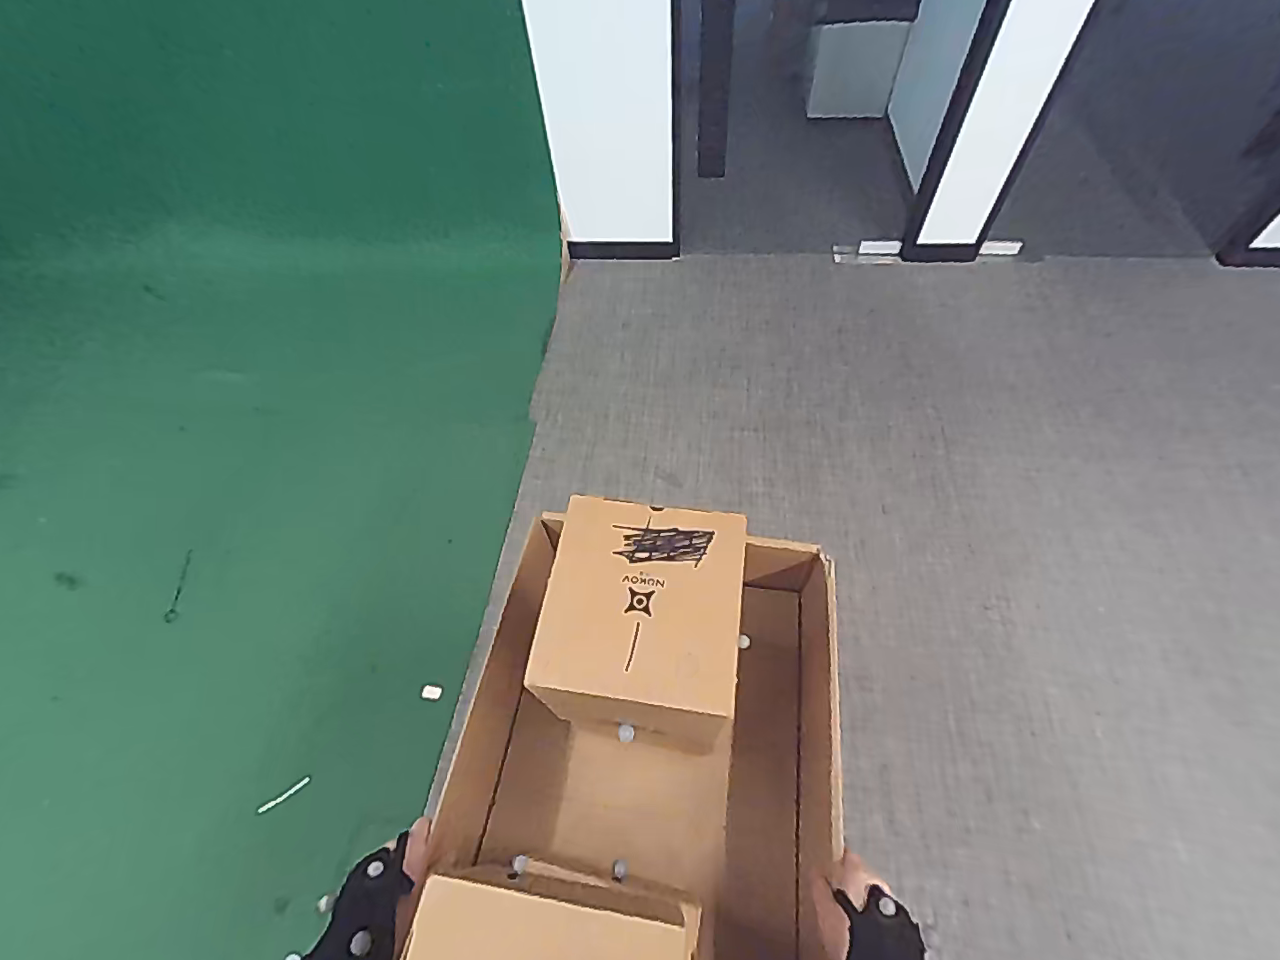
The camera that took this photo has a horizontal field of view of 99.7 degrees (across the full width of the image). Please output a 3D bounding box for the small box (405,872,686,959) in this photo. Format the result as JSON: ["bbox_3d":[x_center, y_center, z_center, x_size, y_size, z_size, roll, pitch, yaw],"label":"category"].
[{"bbox_3d":[-0.067,0.389,0.376,0.179,0.176,0.168,7,58,6],"label":"small box"}]

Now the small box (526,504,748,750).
[{"bbox_3d":[0.006,0.147,0.526,0.168,0.176,0.179,7,59,7],"label":"small box"}]
